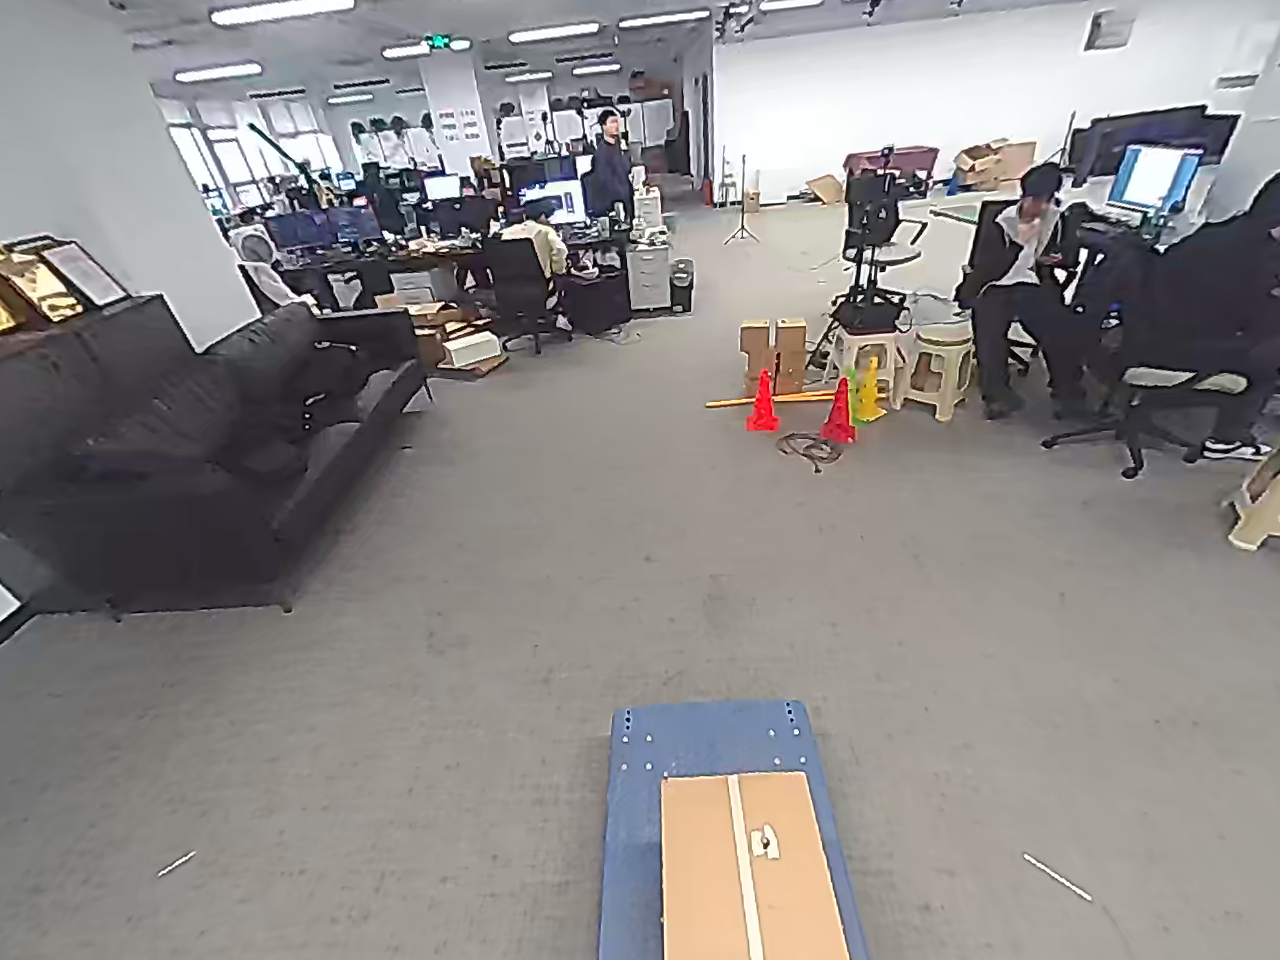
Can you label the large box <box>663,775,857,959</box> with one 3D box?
[{"bbox_3d":[0.220,0.872,1.068,0.320,0.320,0.408,-4,33,3],"label":"large box"}]
